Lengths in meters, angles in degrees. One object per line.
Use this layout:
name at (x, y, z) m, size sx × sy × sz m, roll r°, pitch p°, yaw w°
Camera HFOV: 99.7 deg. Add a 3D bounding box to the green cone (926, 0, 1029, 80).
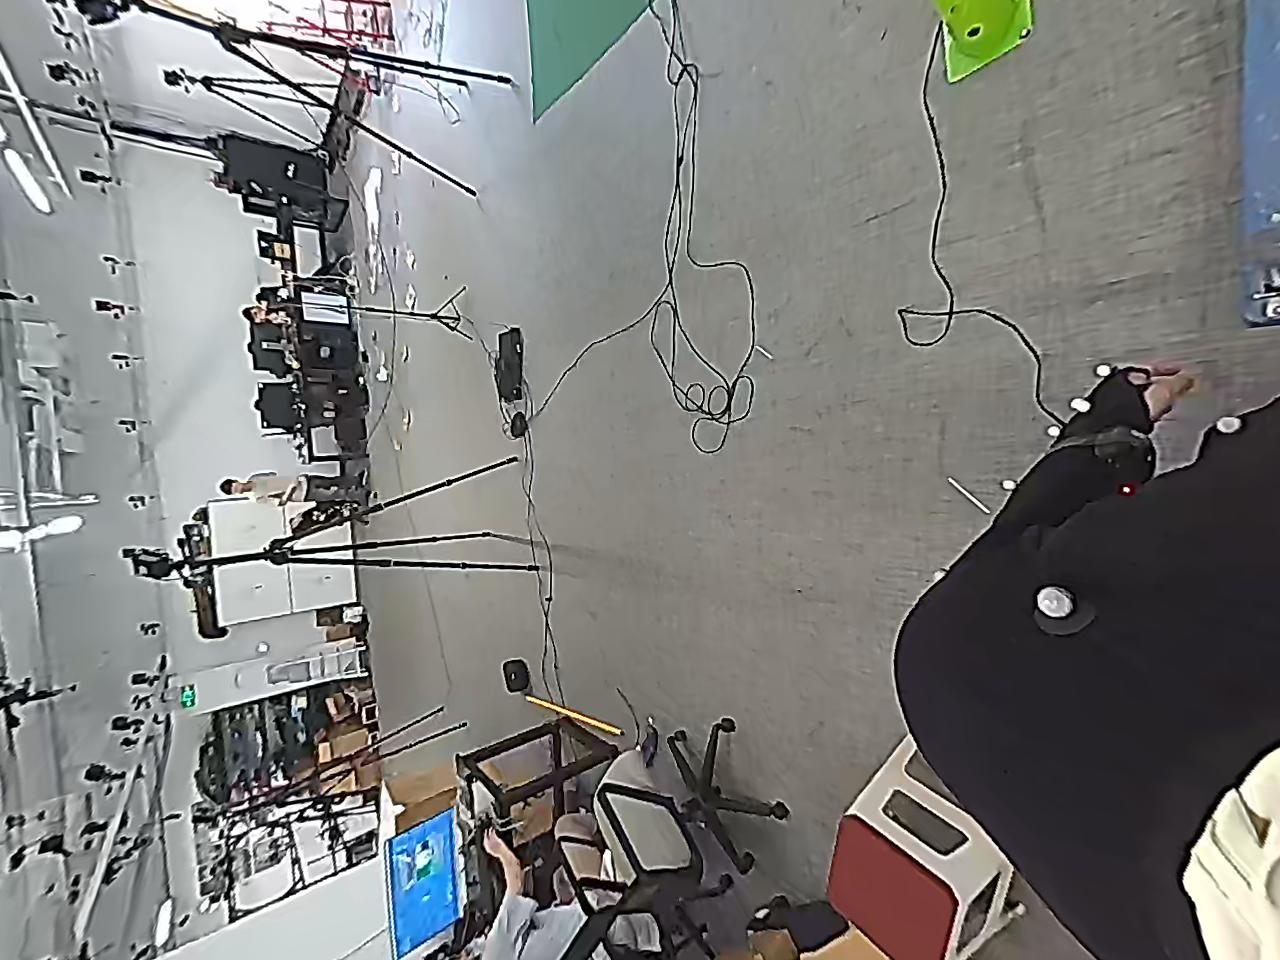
green cone at (0.765, -1.195, 1.323) m, size 0.202 × 0.368 × 0.200 m, roll -6°, pitch 89°, yaw 54°
